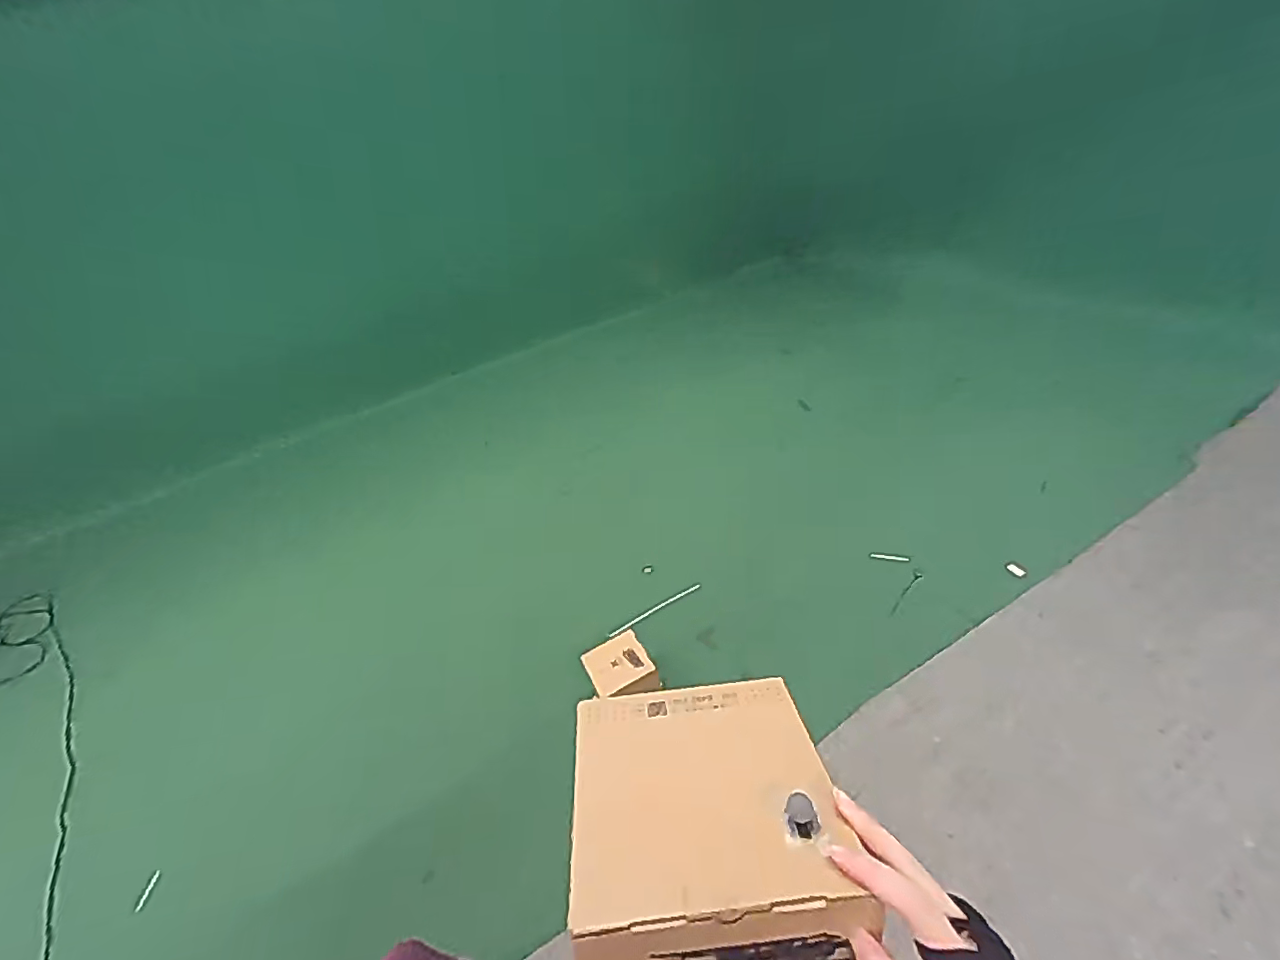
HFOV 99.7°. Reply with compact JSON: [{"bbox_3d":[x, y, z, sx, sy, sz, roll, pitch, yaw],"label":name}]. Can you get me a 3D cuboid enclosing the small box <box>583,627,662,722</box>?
[{"bbox_3d":[-0.047,0.585,1.624,0.179,0.176,0.168,-26,40,-14],"label":"small box"}]
